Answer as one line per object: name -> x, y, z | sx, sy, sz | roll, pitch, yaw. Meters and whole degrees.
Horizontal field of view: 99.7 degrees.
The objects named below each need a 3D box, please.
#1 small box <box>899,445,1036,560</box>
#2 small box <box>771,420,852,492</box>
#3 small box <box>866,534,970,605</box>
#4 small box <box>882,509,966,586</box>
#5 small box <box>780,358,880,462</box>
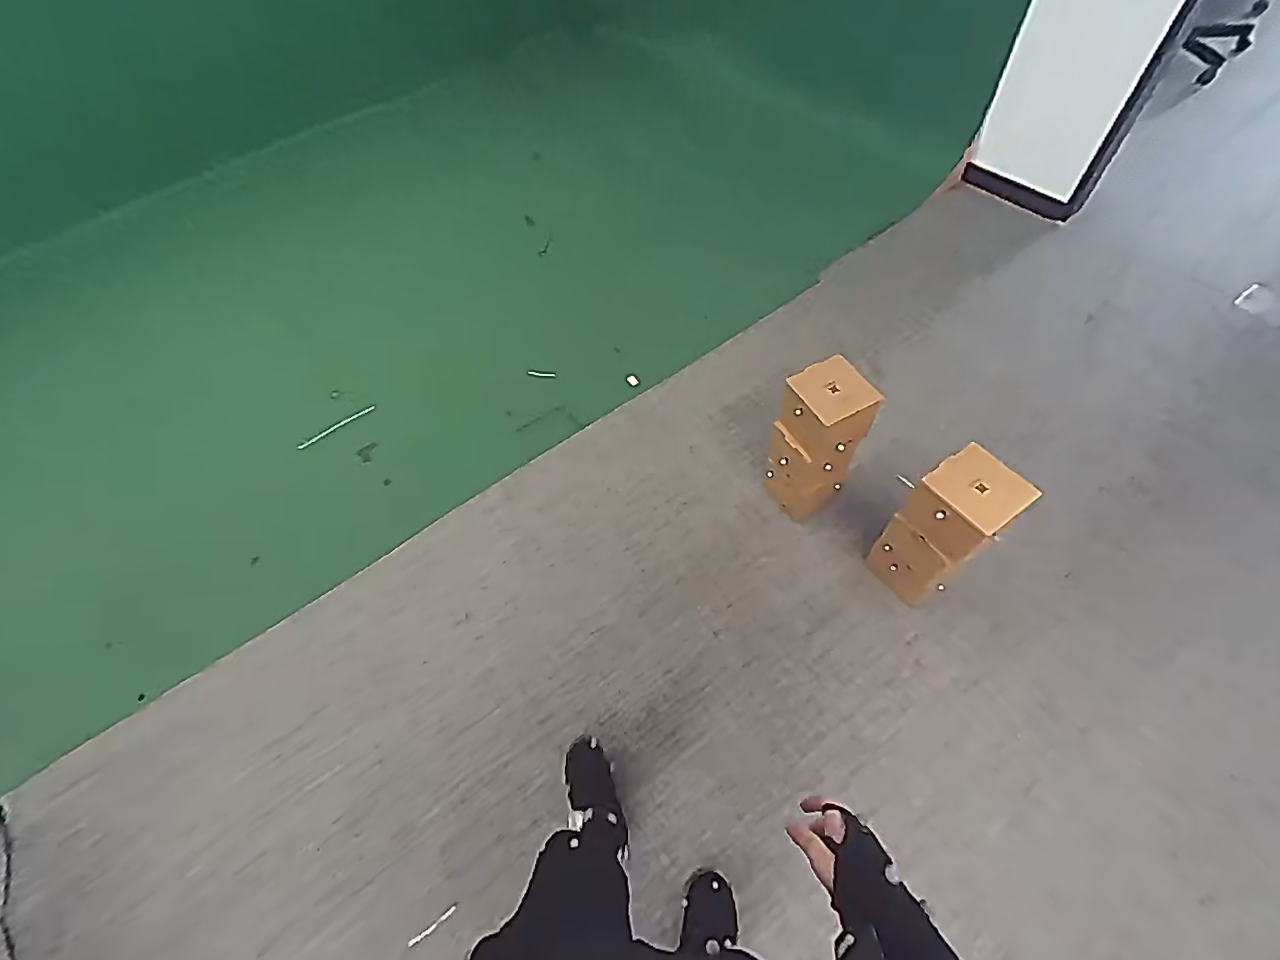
small box -> 0.731, 0.060, 1.229 | 0.168, 0.176, 0.179 | -32, 59, -12
small box -> 0.490, -0.093, 1.549 | 0.179, 0.176, 0.168 | -27, 59, -9
small box -> 0.765, 0.220, 1.511 | 0.168, 0.176, 0.179 | -33, 60, -12
small box -> 0.743, 0.139, 1.370 | 0.179, 0.176, 0.168 | -31, 60, -12
small box -> 0.484, -0.178, 1.409 | 0.168, 0.176, 0.179 | -25, 59, -8
